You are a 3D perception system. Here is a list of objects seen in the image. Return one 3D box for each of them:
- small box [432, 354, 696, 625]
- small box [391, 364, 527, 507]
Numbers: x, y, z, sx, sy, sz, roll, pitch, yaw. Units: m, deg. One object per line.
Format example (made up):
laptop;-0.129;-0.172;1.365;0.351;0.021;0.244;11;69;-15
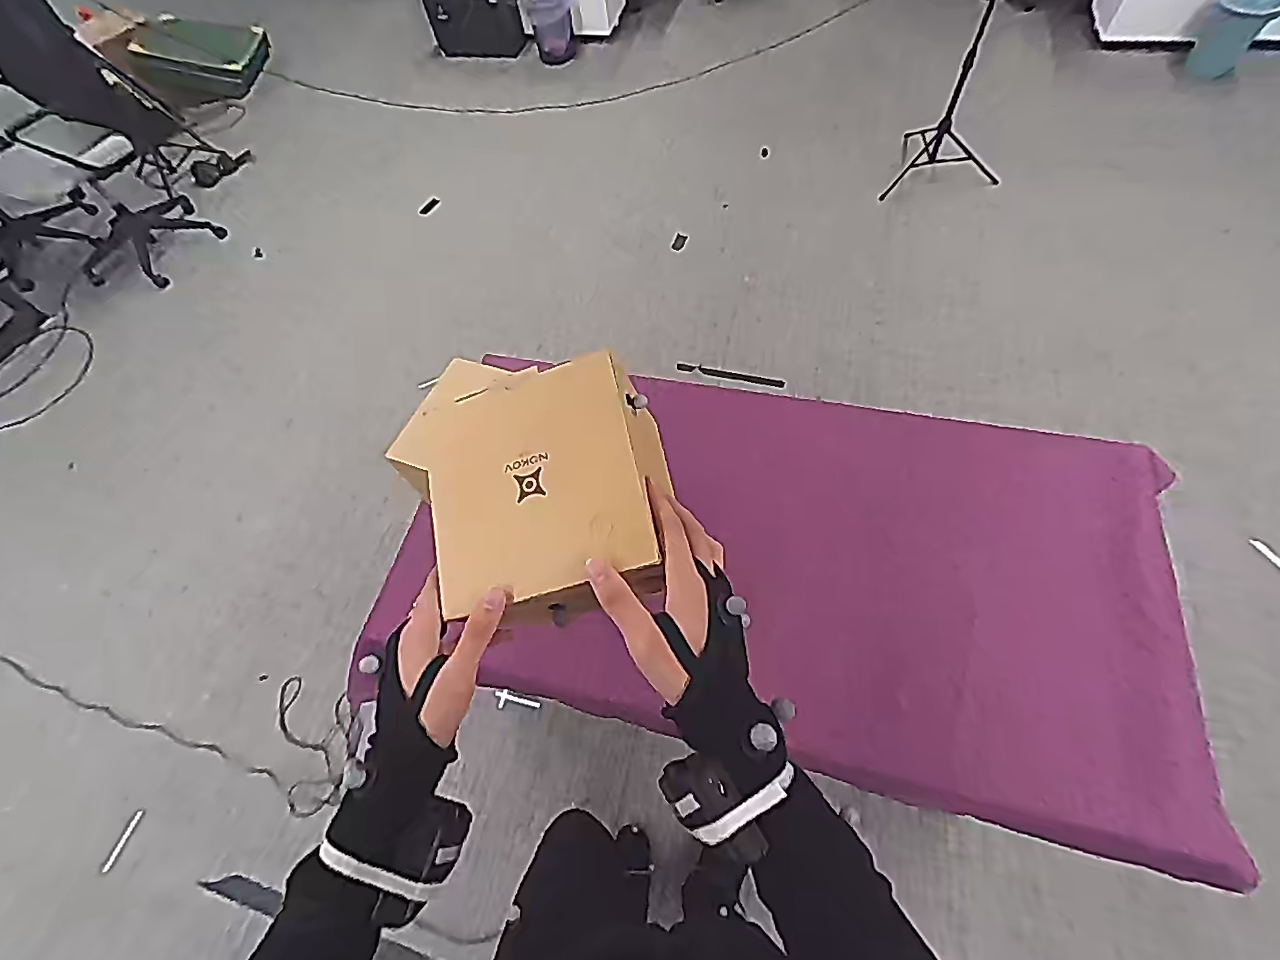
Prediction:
small box;-0.057;0.025;0.481;0.168;0.176;0.179;-18;69;10
small box;-0.187;-0.026;0.737;0.179;0.176;0.168;18;64;15
